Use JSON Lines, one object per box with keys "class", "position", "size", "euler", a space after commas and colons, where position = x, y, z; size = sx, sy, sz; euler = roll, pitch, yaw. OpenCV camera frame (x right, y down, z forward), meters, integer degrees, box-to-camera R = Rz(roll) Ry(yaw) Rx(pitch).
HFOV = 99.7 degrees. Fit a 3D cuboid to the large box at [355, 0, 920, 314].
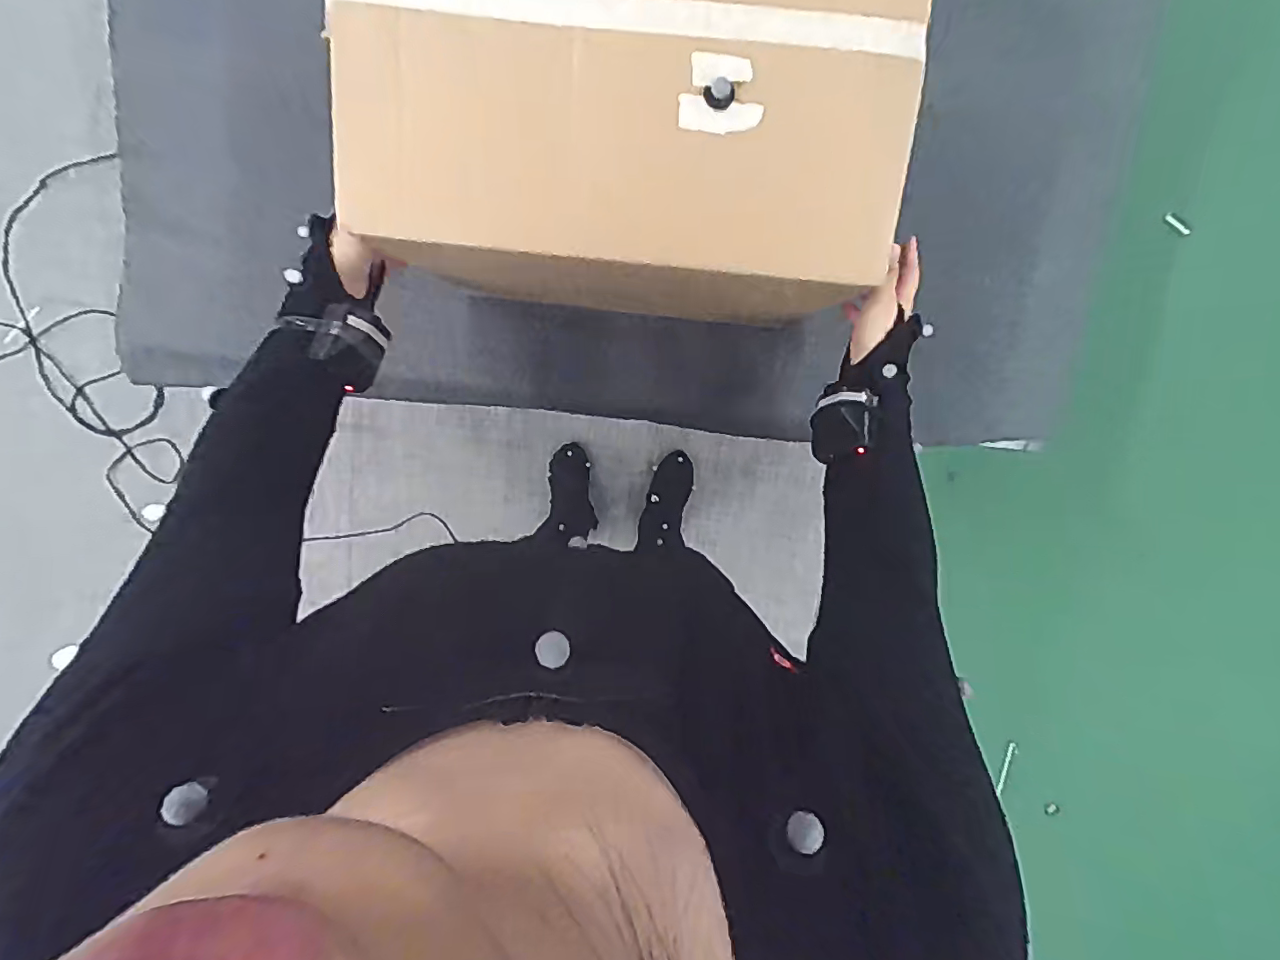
{"class": "large box", "position": [-0.004, -0.353, 0.530], "size": [0.408, 0.320, 0.320], "euler": [5, 101, -1]}
